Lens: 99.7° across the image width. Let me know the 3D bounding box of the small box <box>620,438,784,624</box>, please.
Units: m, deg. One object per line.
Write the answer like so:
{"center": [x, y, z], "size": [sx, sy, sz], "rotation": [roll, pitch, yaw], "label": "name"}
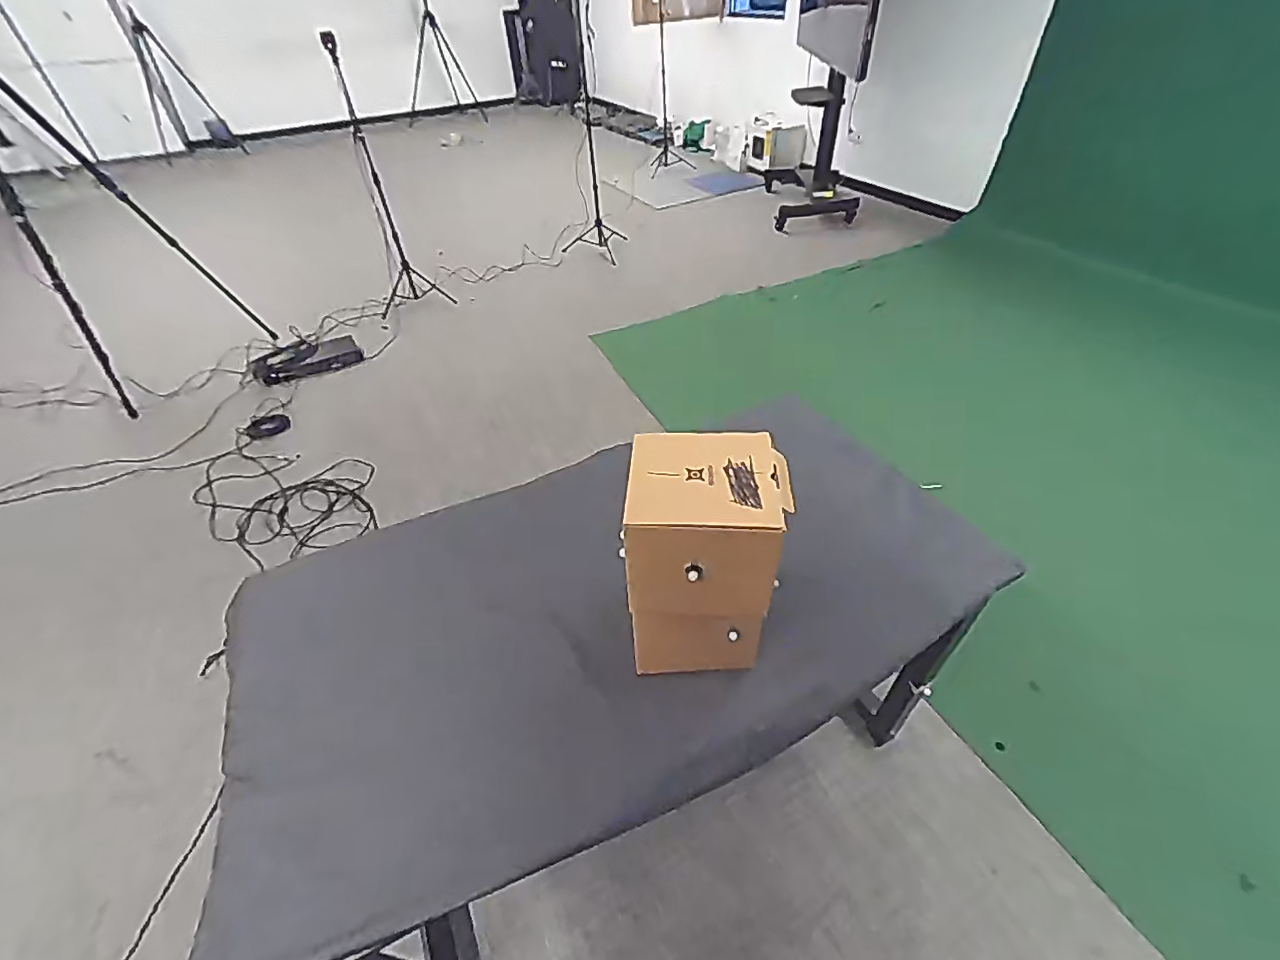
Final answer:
{"center": [0.074, 0.065, 0.681], "size": [0.179, 0.176, 0.168], "rotation": [1, 42, 5], "label": "small box"}
